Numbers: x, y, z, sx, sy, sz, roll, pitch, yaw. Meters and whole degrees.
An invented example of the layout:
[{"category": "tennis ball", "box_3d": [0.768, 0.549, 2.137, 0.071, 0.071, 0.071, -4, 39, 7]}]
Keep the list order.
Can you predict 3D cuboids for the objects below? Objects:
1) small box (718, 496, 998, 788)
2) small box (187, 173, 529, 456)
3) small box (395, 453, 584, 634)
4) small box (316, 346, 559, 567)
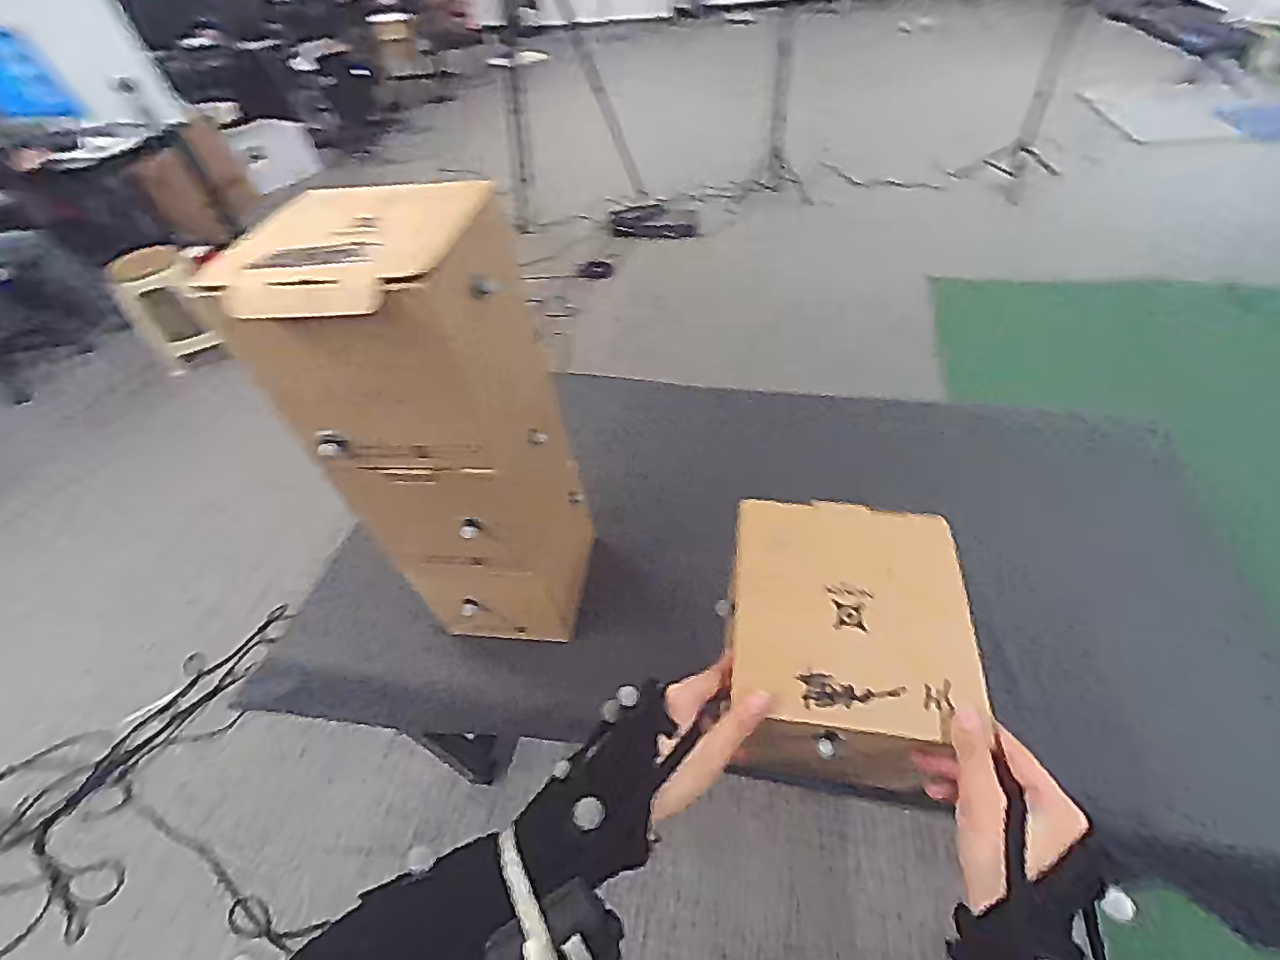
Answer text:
[{"category": "small box", "box_3d": [0.156, 0.138, 0.455, 0.168, 0.176, 0.179, 5, 53, 8]}, {"category": "small box", "box_3d": [-0.202, -0.135, 0.456, 0.168, 0.176, 0.179, 1, 47, 5]}, {"category": "small box", "box_3d": [-0.175, 0.083, 0.699, 0.168, 0.176, 0.179, 2, 48, 8]}, {"category": "small box", "box_3d": [-0.190, -0.024, 0.577, 0.168, 0.176, 0.179, 2, 47, 6]}]
